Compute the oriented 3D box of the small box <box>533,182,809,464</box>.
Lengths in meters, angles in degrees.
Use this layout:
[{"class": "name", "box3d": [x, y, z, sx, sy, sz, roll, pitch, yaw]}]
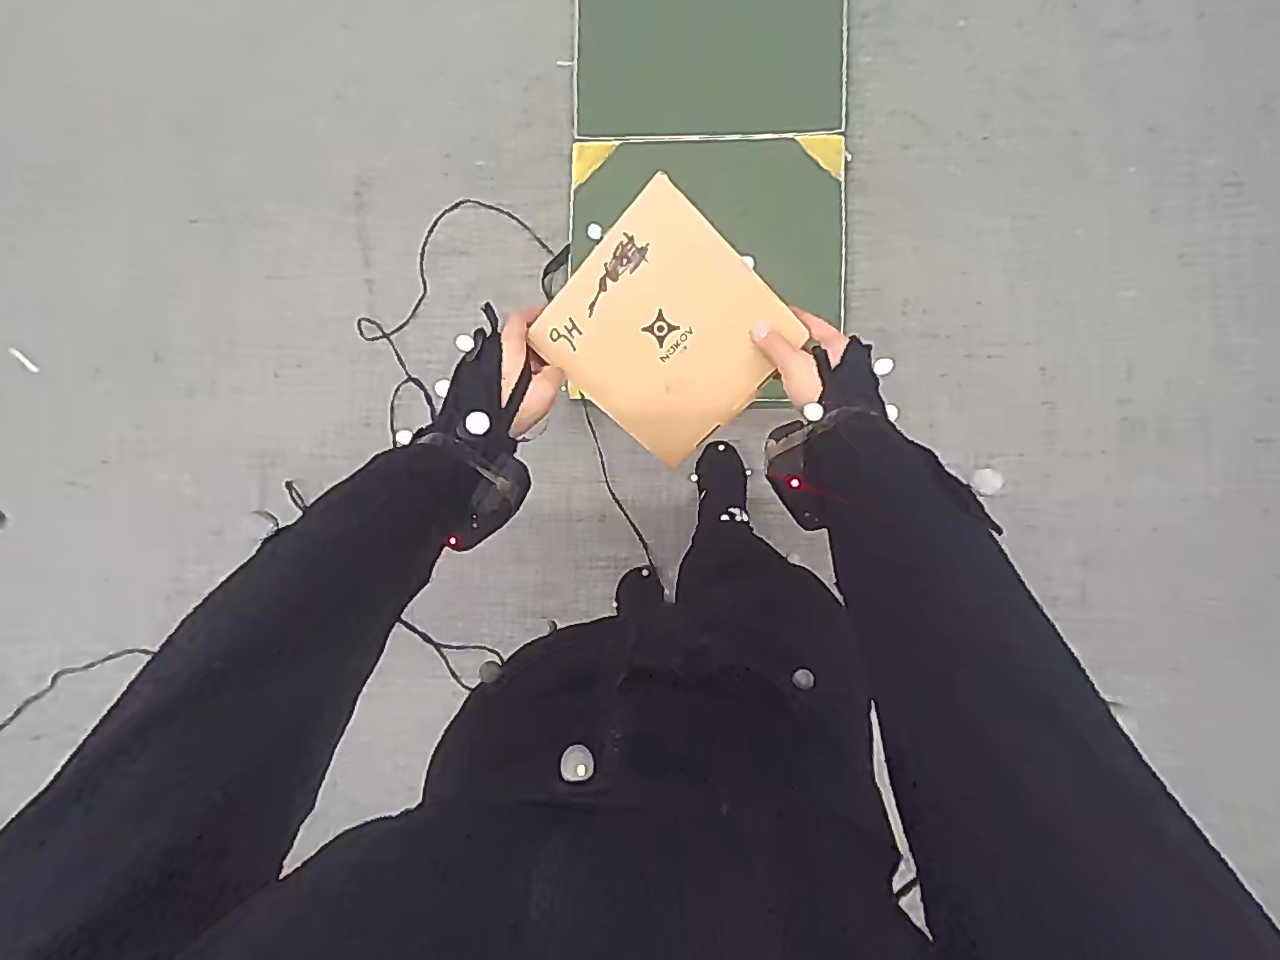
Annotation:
[{"class": "small box", "box3d": [0.027, -0.152, 0.526, 0.179, 0.176, 0.168, 41, 106, -15]}]
